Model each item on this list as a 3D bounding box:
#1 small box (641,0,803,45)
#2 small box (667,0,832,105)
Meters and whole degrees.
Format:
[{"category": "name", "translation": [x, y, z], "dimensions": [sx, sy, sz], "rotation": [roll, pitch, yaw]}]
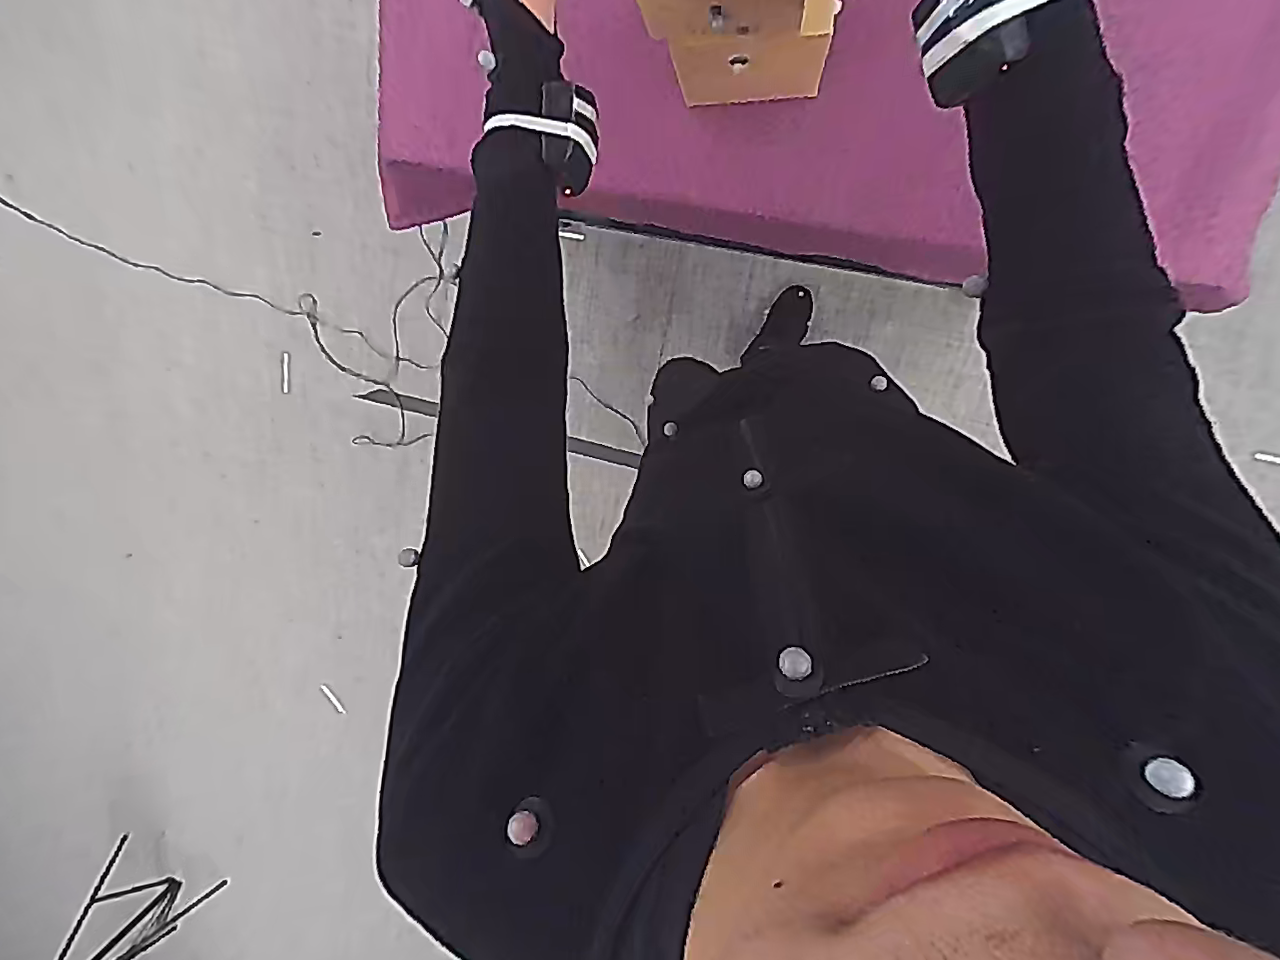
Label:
[{"category": "small box", "translation": [0.079, -0.539, 0.488], "dimensions": [0.168, 0.176, 0.179], "rotation": [9, 107, 10]}, {"category": "small box", "translation": [0.132, -0.572, 0.642], "dimensions": [0.179, 0.176, 0.168], "rotation": [3, 106, 10]}]
